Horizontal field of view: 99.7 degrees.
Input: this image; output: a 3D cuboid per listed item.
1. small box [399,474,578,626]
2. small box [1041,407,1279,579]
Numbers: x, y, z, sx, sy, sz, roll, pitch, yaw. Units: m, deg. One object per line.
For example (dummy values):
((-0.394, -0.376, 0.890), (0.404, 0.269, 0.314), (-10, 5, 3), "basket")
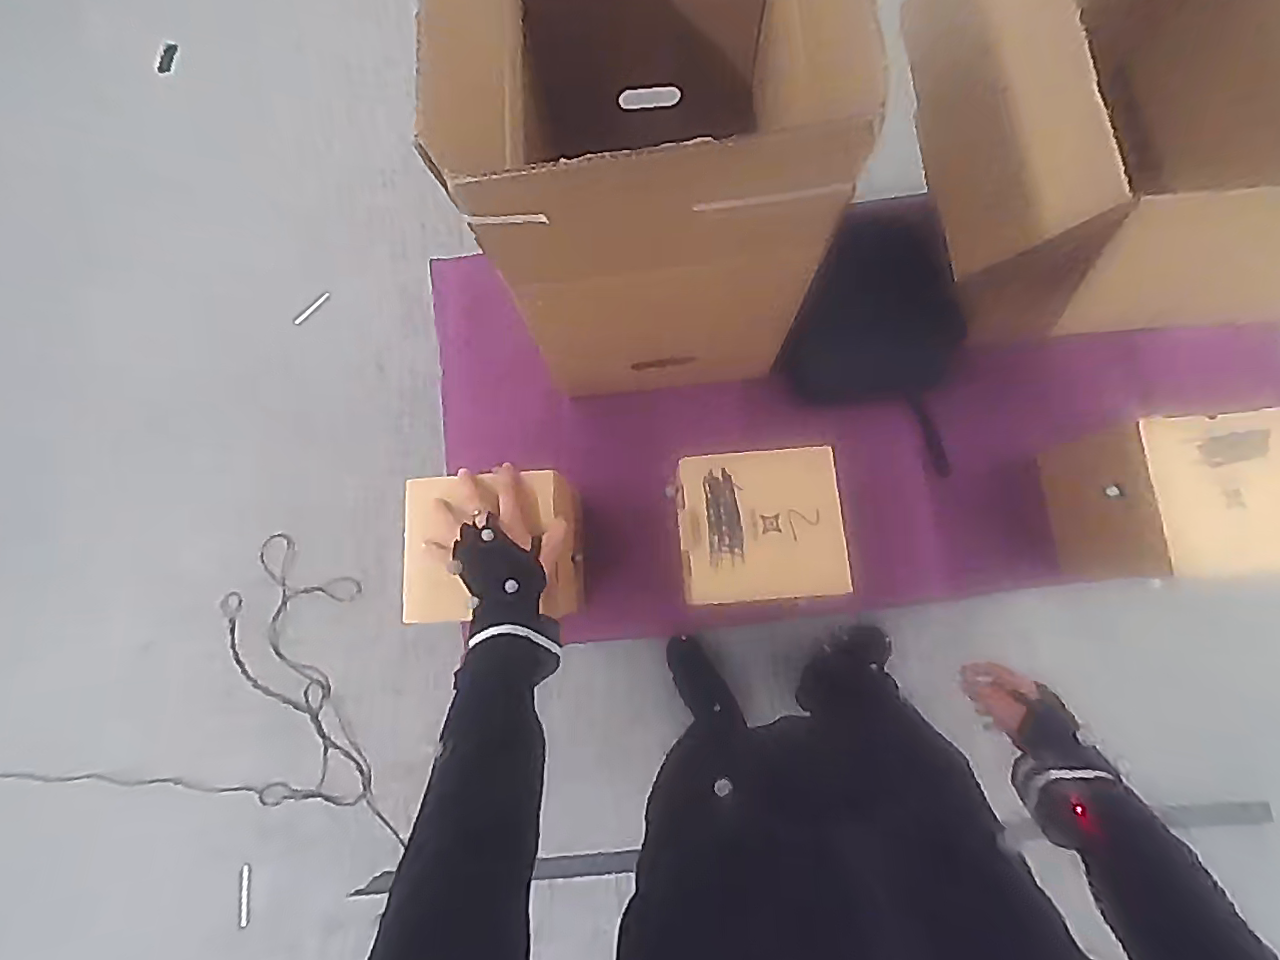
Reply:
((-0.179, 0.094, 0.685), (0.179, 0.176, 0.168), (-4, 78, 1), "small box")
((0.632, 0.025, 0.654), (0.168, 0.176, 0.179), (-5, 79, 2), "small box")
